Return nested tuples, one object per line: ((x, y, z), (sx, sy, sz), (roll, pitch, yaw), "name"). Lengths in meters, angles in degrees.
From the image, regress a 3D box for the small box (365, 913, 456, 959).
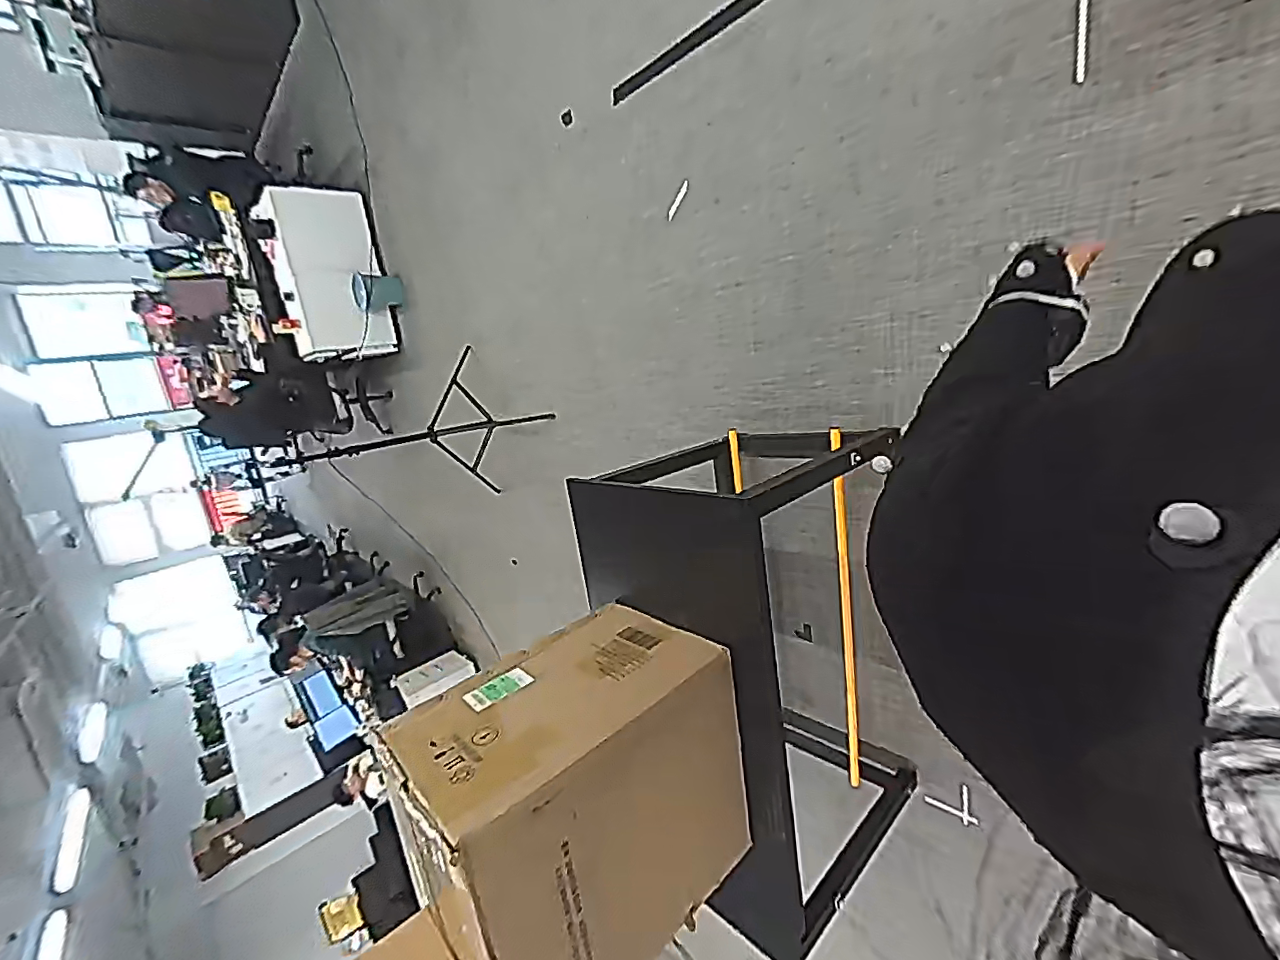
((-0.408, 0.933, 0.954), (0.179, 0.176, 0.168), (5, 107, 49), "small box")
